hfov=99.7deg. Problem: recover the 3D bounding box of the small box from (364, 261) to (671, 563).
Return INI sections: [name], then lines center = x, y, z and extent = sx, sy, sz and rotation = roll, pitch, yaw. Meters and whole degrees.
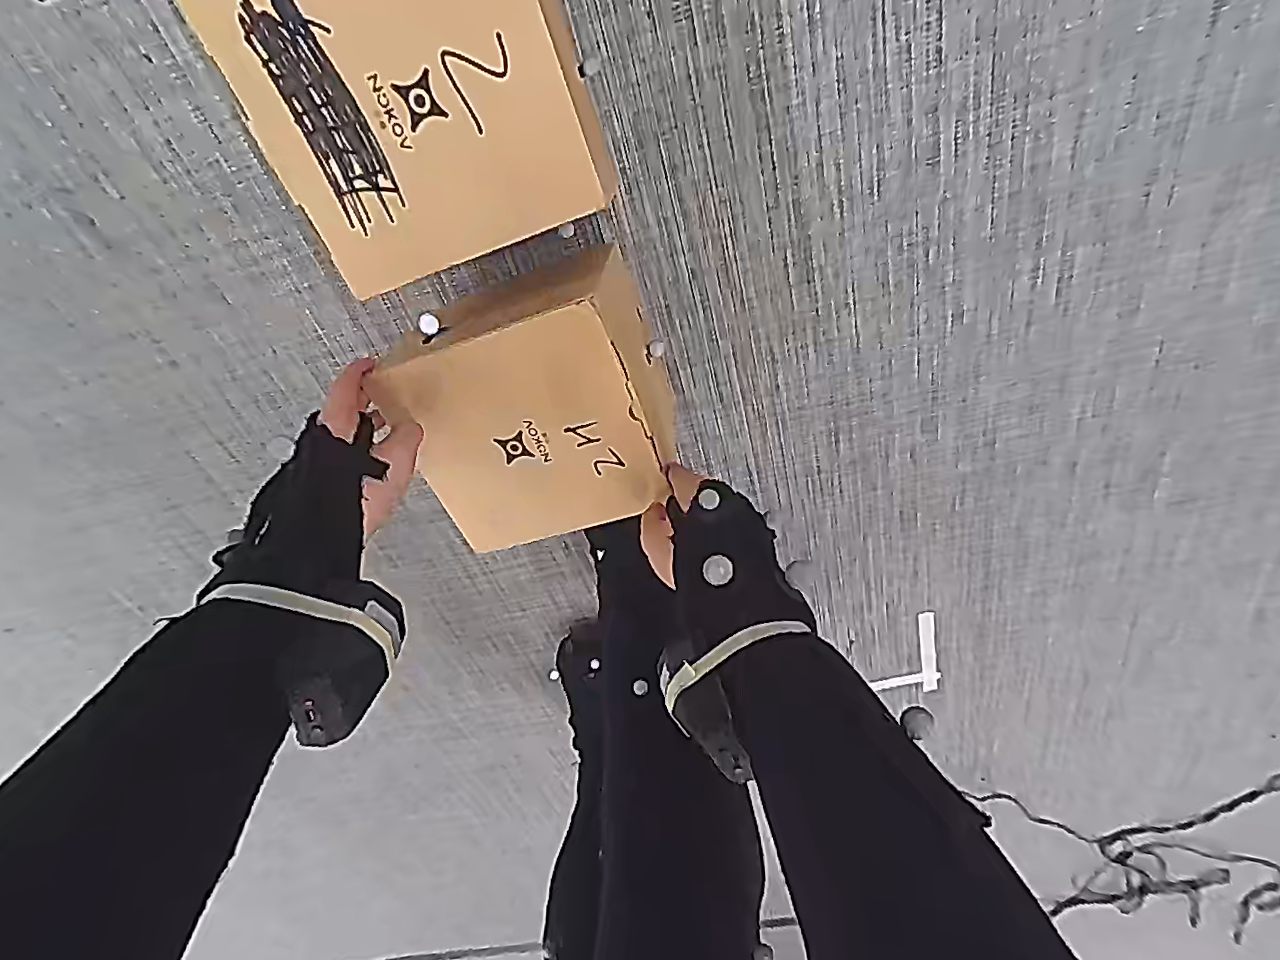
[small box]
center = -0.078, -0.061, 0.454
extent = 0.179, 0.176, 0.168
rotation = -16, 122, 12
